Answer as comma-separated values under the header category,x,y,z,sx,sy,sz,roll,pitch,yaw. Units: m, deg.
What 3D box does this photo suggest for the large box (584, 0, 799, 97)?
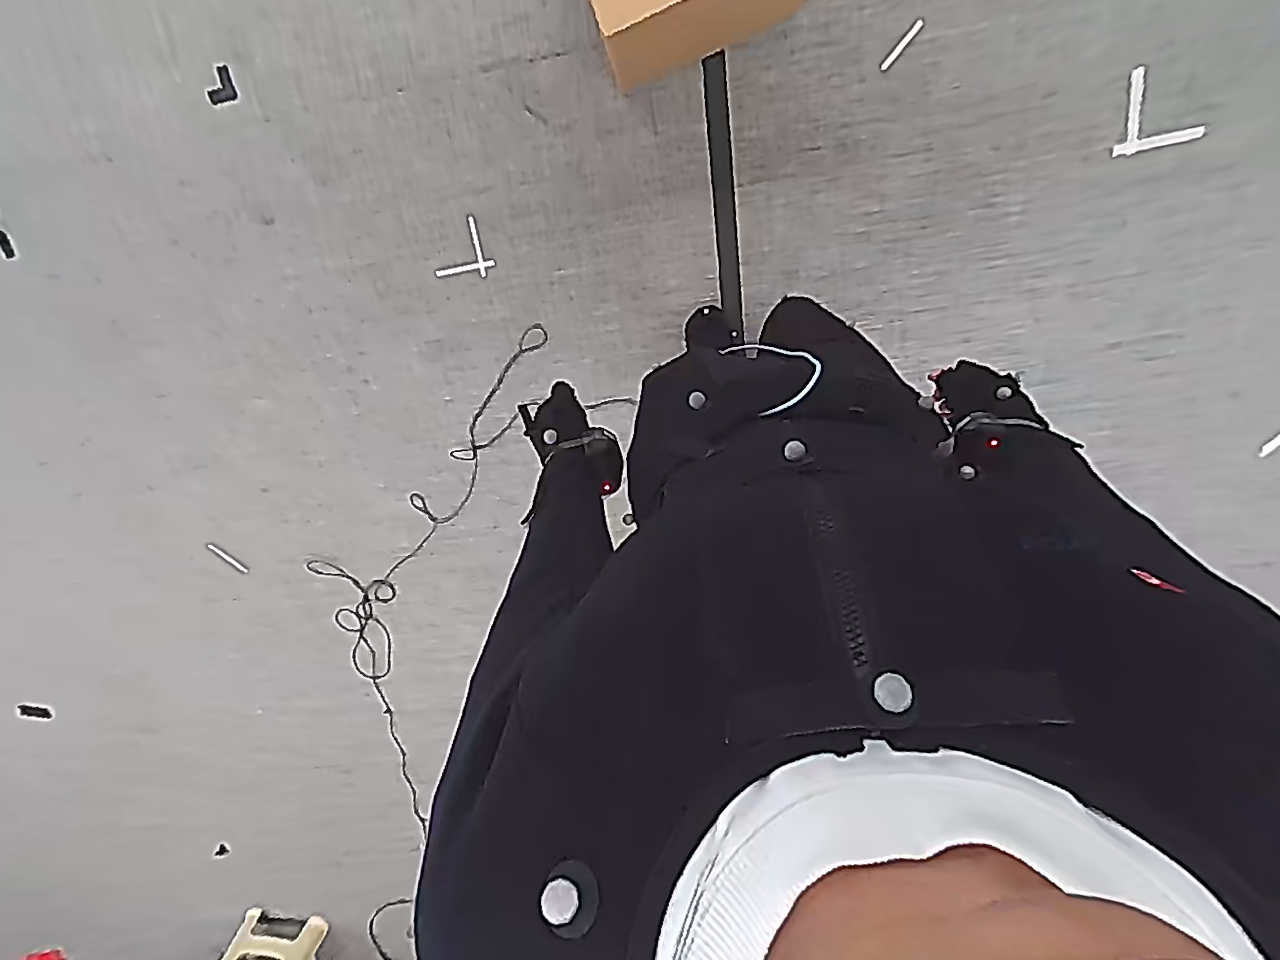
category,x,y,z,sx,sy,sz,roll,pitch,yaw
large box,0.076,-0.995,0.985,0.408,0.320,0.320,-19,108,10
